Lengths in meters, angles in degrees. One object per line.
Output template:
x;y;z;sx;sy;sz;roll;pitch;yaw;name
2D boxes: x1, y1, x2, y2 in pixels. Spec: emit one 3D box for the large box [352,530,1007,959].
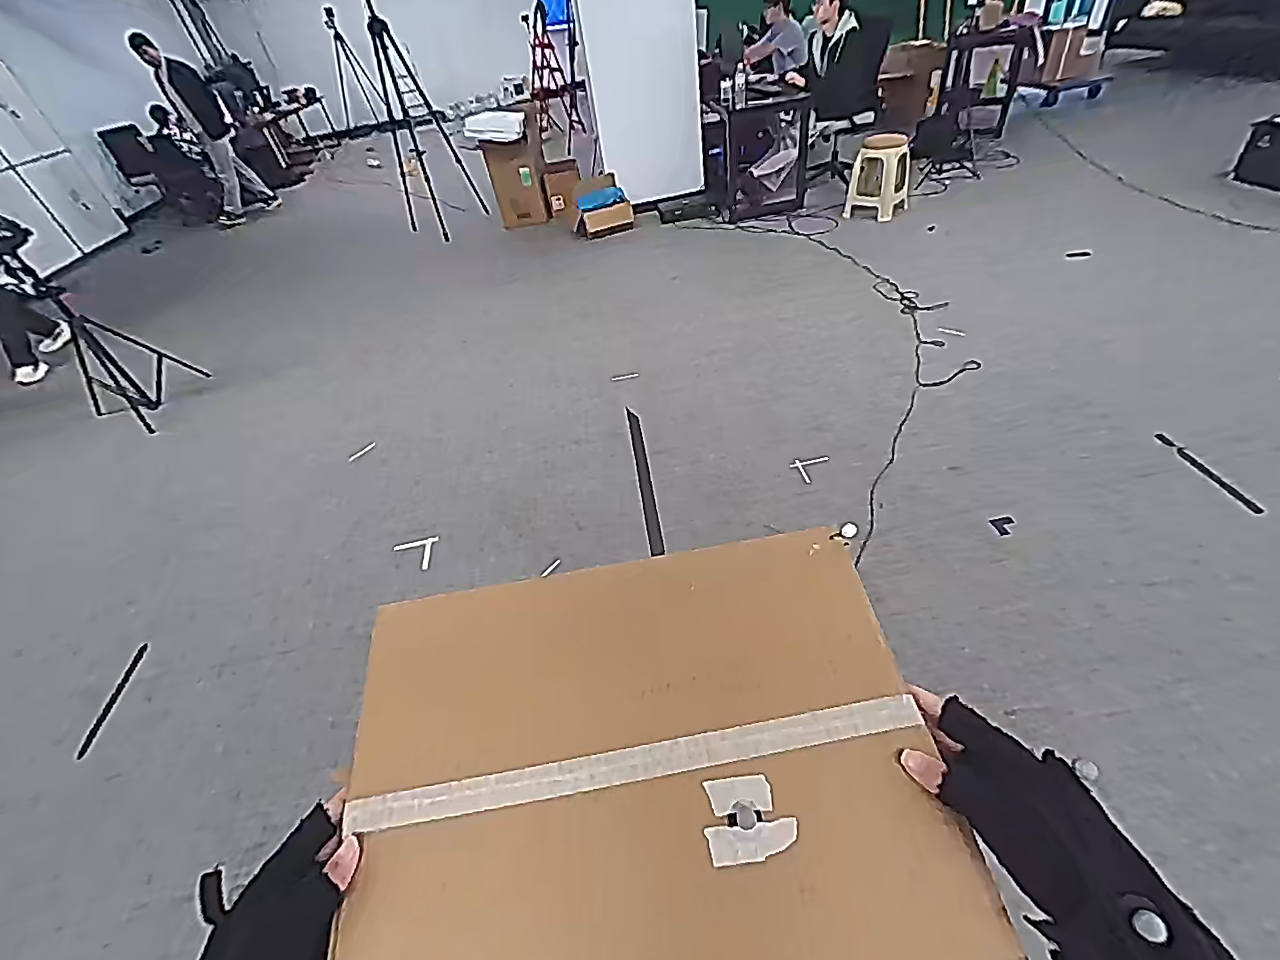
0.009;0.288;0.516;0.408;0.320;0.320;-10;55;-2;large box
